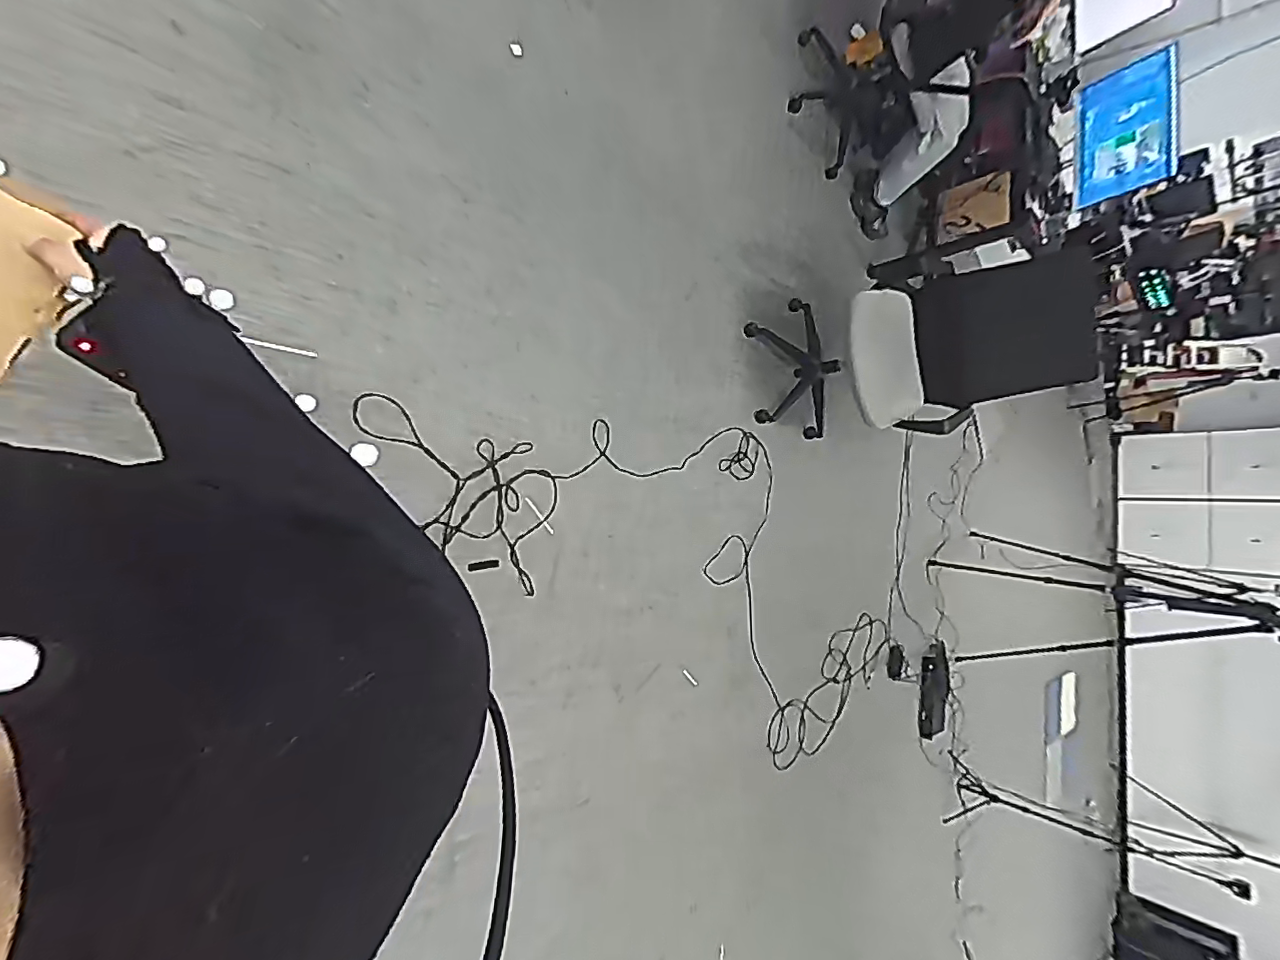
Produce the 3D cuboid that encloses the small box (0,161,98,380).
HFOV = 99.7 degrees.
[{"bbox_3d":[-0.615,-0.212,0.451,0.168,0.176,0.179,-58,143,-2],"label":"small box"}]
